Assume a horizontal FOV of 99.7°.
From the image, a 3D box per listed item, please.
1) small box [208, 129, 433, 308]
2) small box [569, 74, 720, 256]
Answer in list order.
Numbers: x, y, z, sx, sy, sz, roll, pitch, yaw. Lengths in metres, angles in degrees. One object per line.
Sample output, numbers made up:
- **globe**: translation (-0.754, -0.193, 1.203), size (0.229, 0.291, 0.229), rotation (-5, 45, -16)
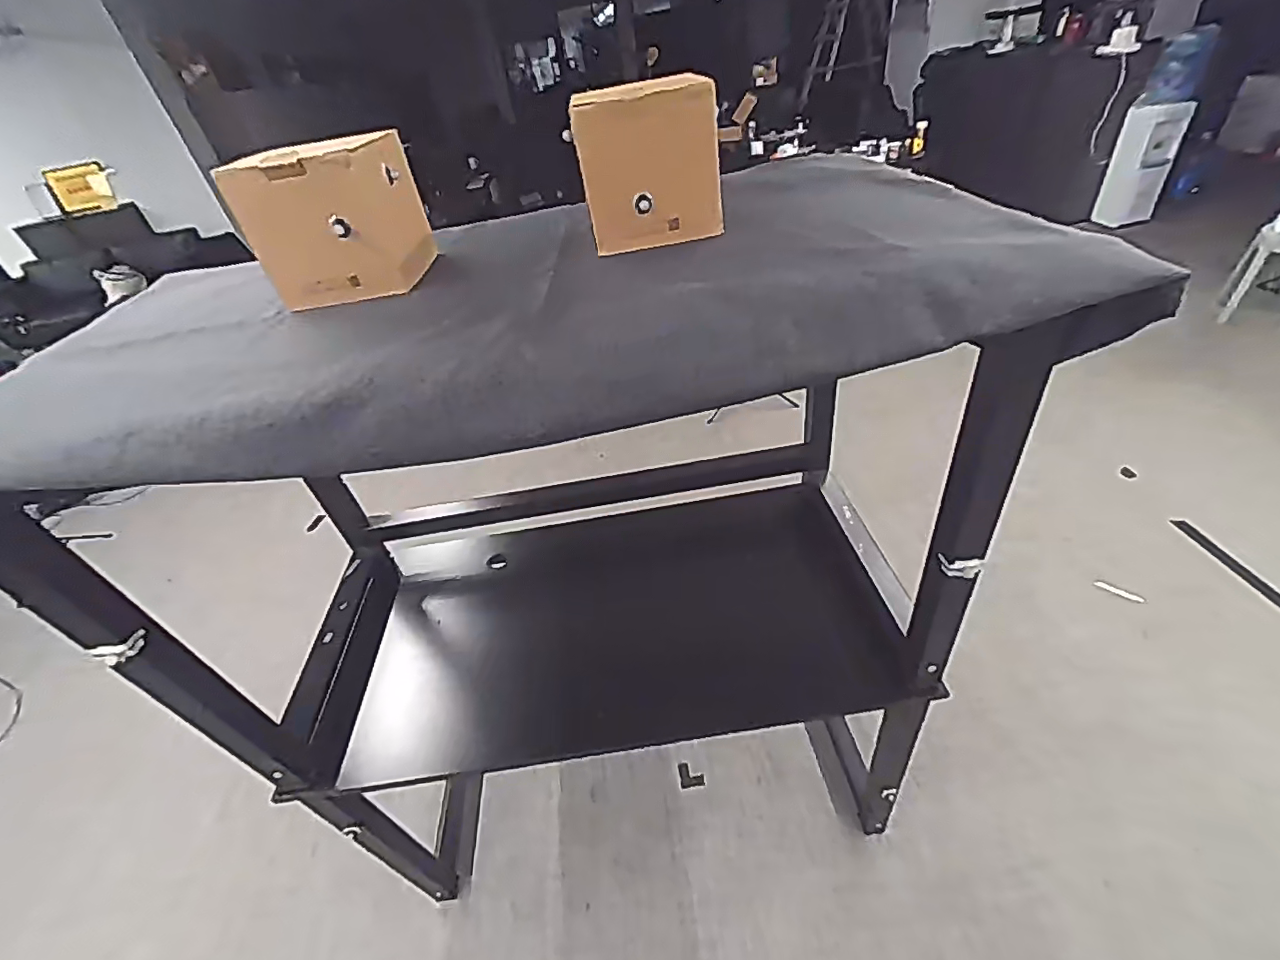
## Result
- **small box**: translation (-0.393, -0.337, 0.709), size (0.168, 0.176, 0.179), rotation (-8, 40, 2)
- **small box**: translation (0.007, -0.411, 0.707), size (0.168, 0.176, 0.179), rotation (-10, 40, 1)
